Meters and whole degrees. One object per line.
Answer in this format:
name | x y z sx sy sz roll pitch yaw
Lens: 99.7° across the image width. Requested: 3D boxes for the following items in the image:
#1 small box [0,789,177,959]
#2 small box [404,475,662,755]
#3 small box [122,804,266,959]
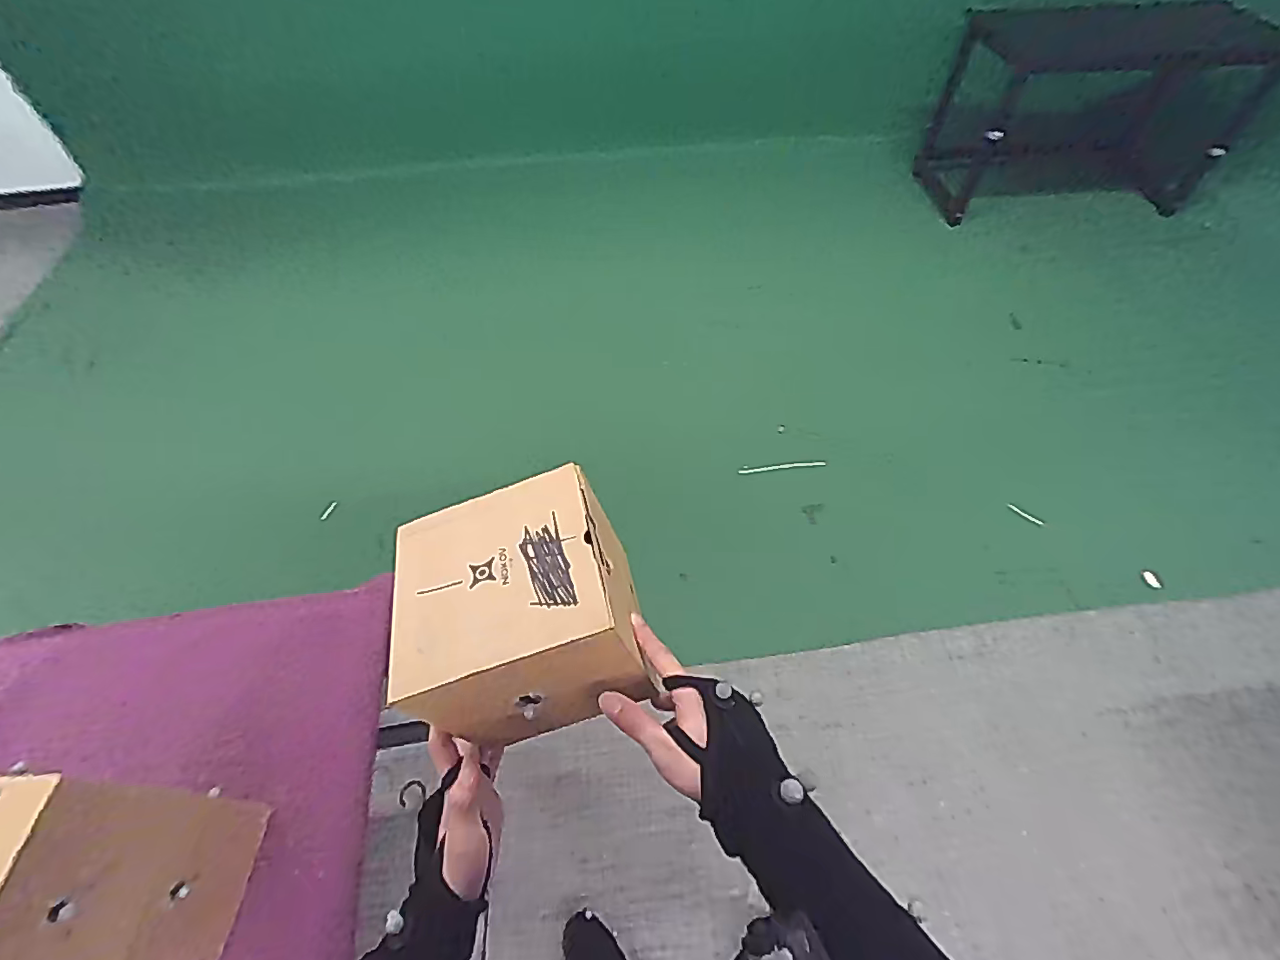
small box | -0.593 0.391 0.499 0.168 0.176 0.179 -1 56 0
small box | -0.086 0.129 0.494 0.179 0.176 0.168 -19 50 2
small box | -0.590 0.484 0.633 0.168 0.176 0.179 1 55 2
